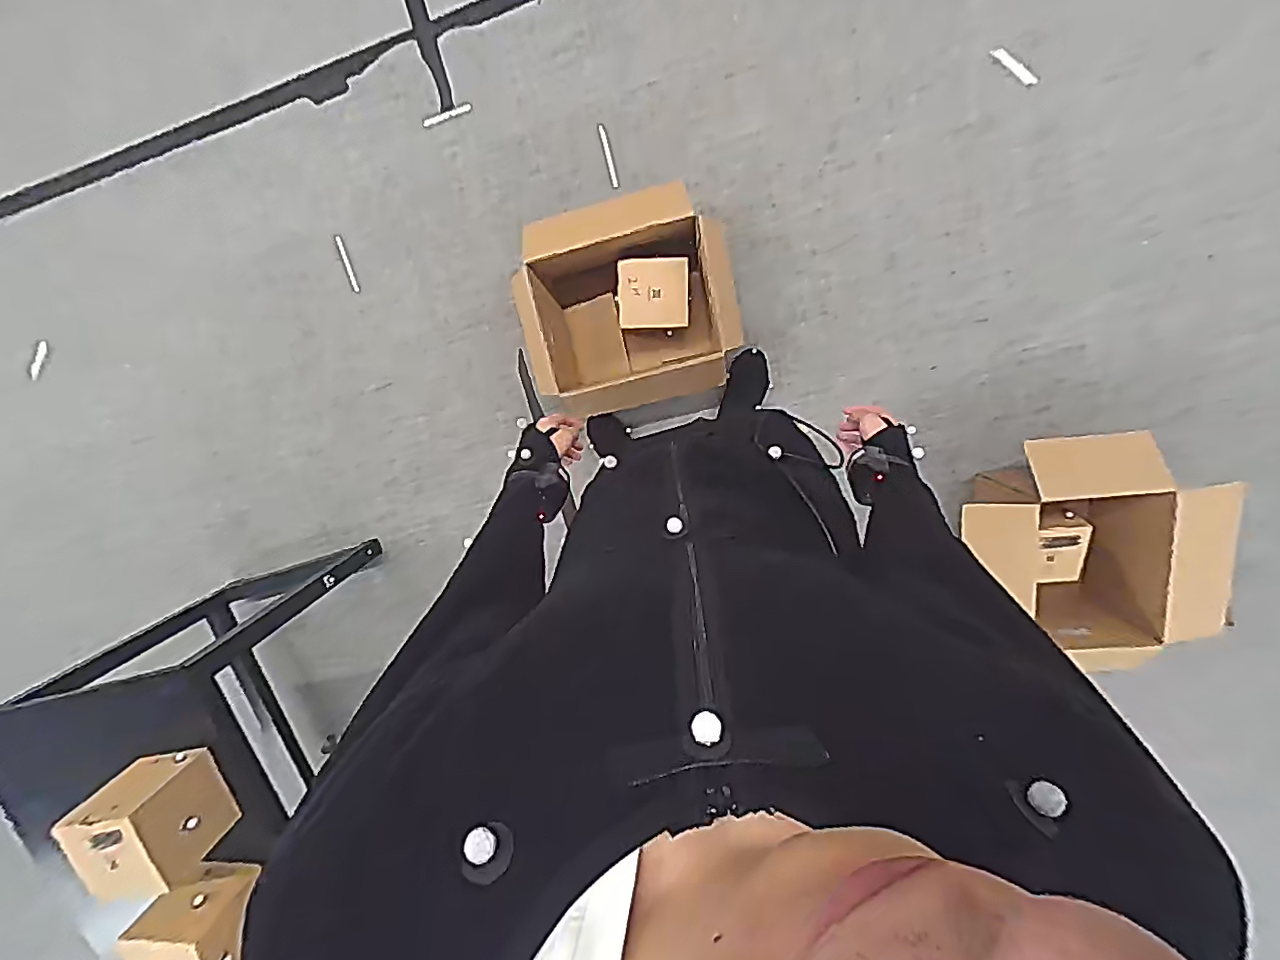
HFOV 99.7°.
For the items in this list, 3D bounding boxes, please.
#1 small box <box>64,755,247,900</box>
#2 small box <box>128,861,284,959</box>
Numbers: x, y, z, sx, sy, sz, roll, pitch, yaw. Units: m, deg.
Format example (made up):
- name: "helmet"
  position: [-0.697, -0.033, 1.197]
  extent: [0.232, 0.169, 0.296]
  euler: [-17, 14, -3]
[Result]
- name: "small box"
  position: [-0.928, 0.664, 1.053]
  extent: [0.168, 0.176, 0.179]
  euler: [-13, 105, 8]
- name: "small box"
  position: [-0.888, 0.932, 1.124]
  extent: [0.168, 0.176, 0.179]
  euler: [-2, 105, 6]
